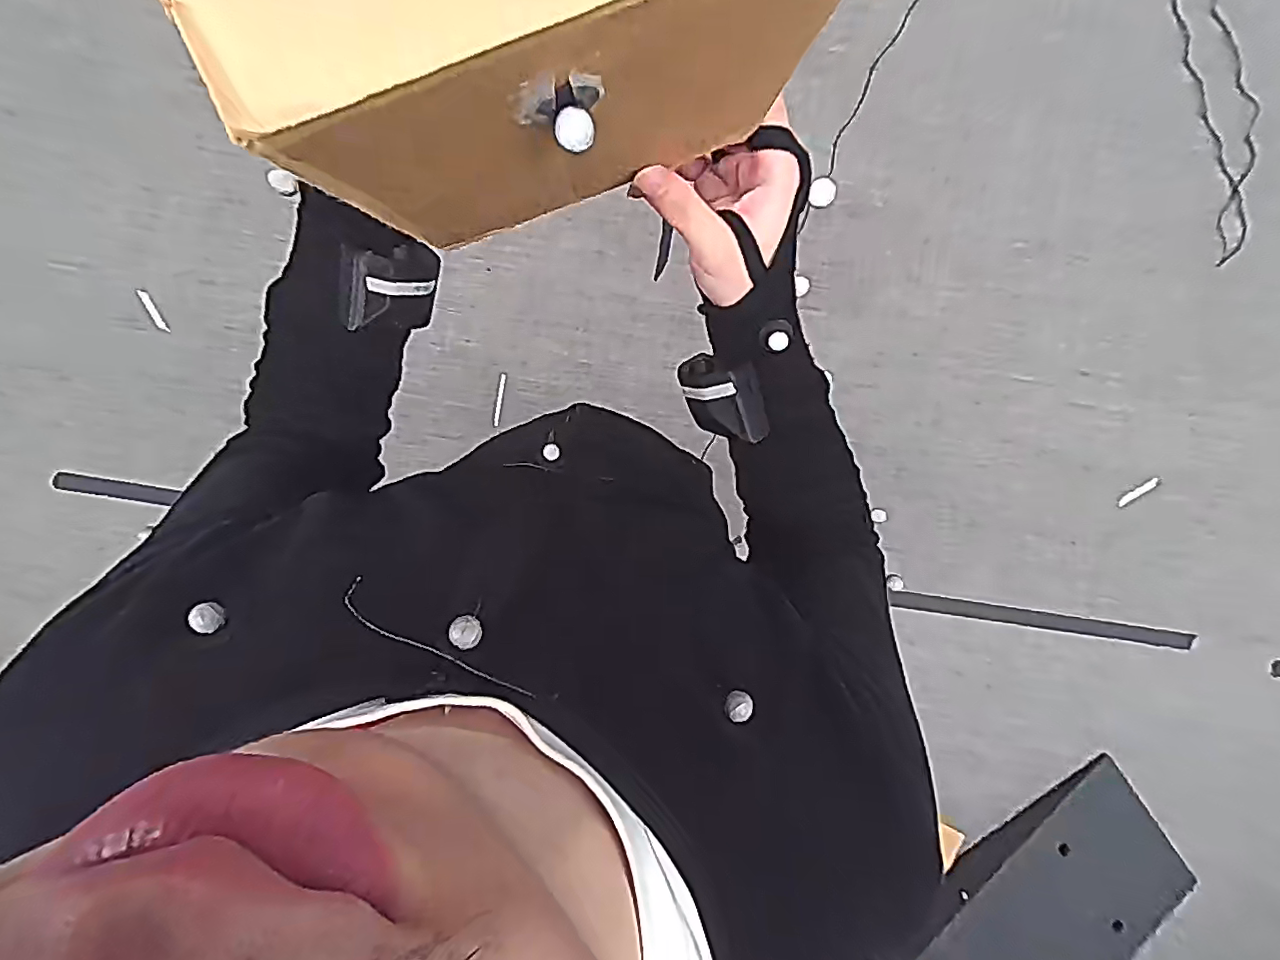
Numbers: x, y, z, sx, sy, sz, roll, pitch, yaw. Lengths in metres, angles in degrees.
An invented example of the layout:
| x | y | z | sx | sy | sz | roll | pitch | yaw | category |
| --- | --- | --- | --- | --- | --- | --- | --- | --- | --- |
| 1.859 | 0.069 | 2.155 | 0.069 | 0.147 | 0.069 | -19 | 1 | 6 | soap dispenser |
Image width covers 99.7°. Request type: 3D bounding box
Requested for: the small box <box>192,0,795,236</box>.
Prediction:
| x | y | z | sx | sy | sz | roll | pitch | yaw | category |
| --- | --- | --- | --- | --- | --- | --- | --- | --- | --- |
| -0.049 | -0.209 | 0.199 | 0.179 | 0.176 | 0.168 | -19 | 105 | 2 | small box |
